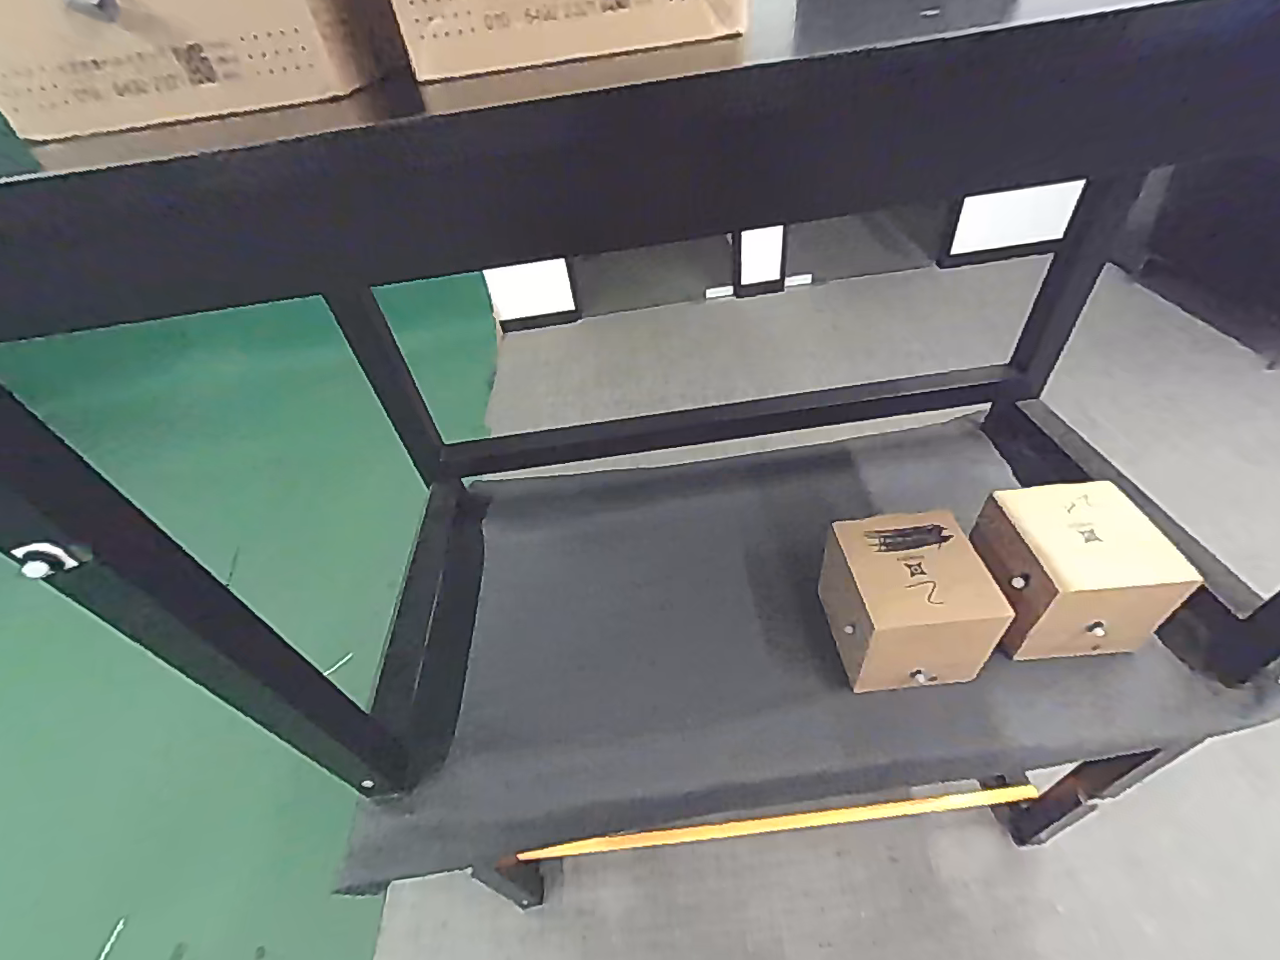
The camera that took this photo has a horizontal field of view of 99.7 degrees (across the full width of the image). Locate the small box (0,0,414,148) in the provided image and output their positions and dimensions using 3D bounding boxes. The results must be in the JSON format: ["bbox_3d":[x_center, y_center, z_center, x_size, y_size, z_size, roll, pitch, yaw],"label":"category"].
[{"bbox_3d":[-0.238,-0.289,0.275,0.168,0.176,0.179,-7,45,2],"label":"small box"}]

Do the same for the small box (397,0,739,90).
[{"bbox_3d":[-0.044,-0.318,0.274,0.168,0.176,0.179,-7,43,3],"label":"small box"}]

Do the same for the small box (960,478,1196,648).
[{"bbox_3d":[0.589,0.122,0.760,0.168,0.176,0.179,-6,43,4],"label":"small box"}]
